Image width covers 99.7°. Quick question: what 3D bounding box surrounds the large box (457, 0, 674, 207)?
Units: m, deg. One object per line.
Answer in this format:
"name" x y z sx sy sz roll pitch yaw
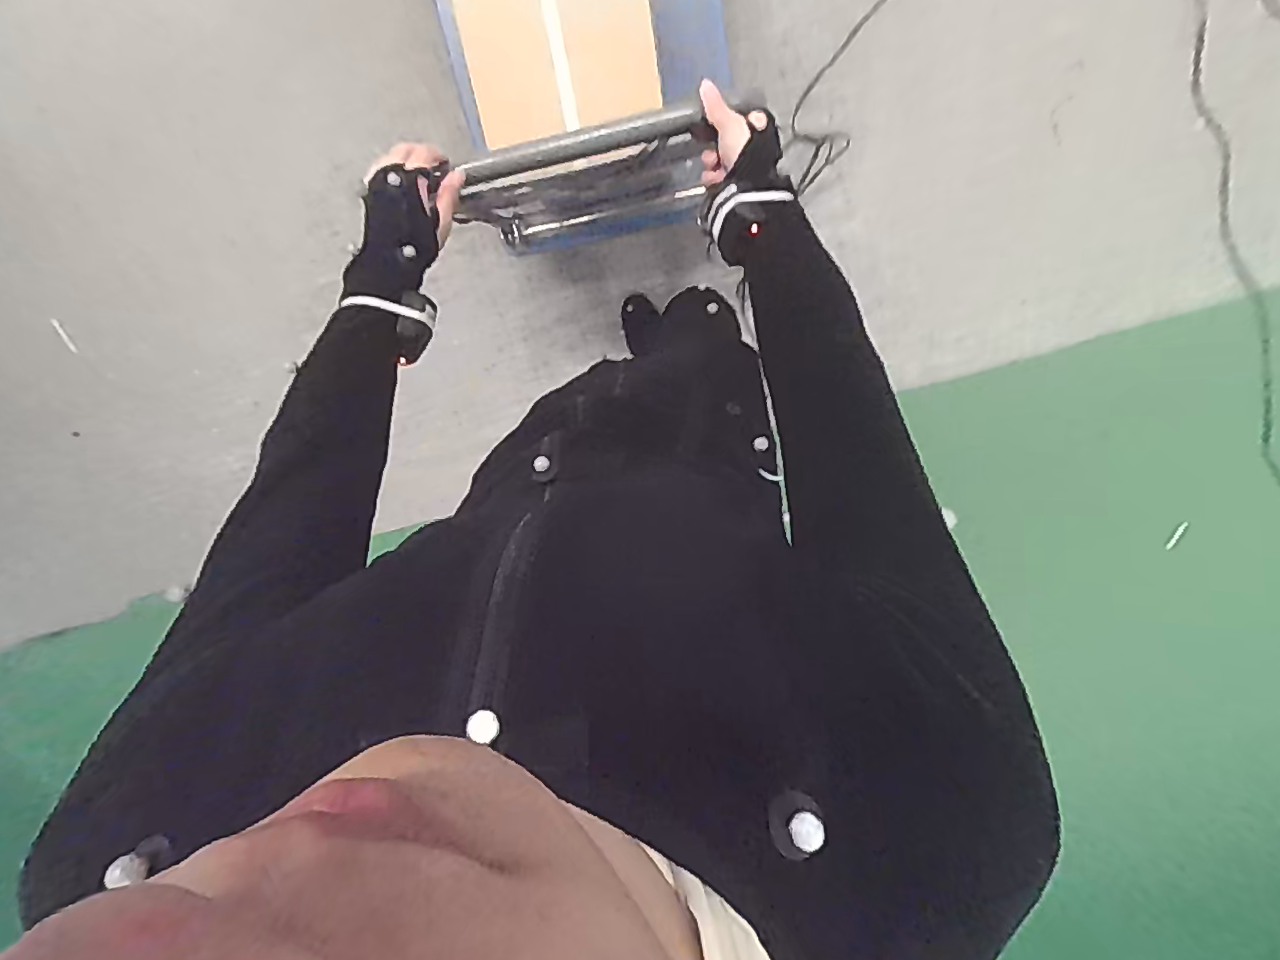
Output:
"large box" -0.120 -0.778 1.023 0.320 0.320 0.408 -7 111 7
